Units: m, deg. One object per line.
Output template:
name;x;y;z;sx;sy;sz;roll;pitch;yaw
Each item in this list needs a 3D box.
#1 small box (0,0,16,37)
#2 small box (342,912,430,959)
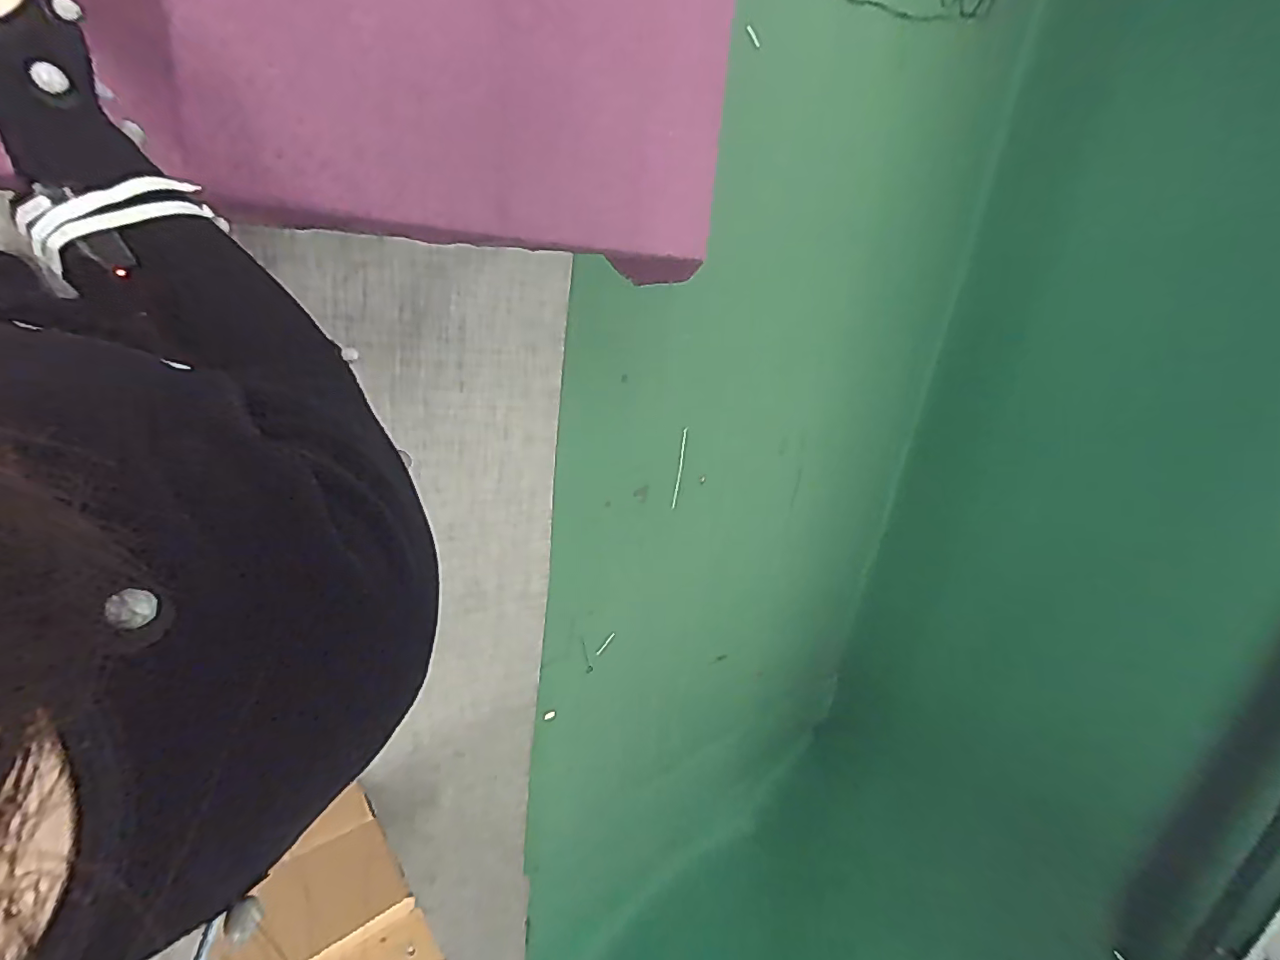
small box;-0.519;-0.410;0.323;0.168;0.176;0.179;-11;117;-43
small box;-0.664;1.285;1.410;0.168;0.176;0.179;-9;116;-42
